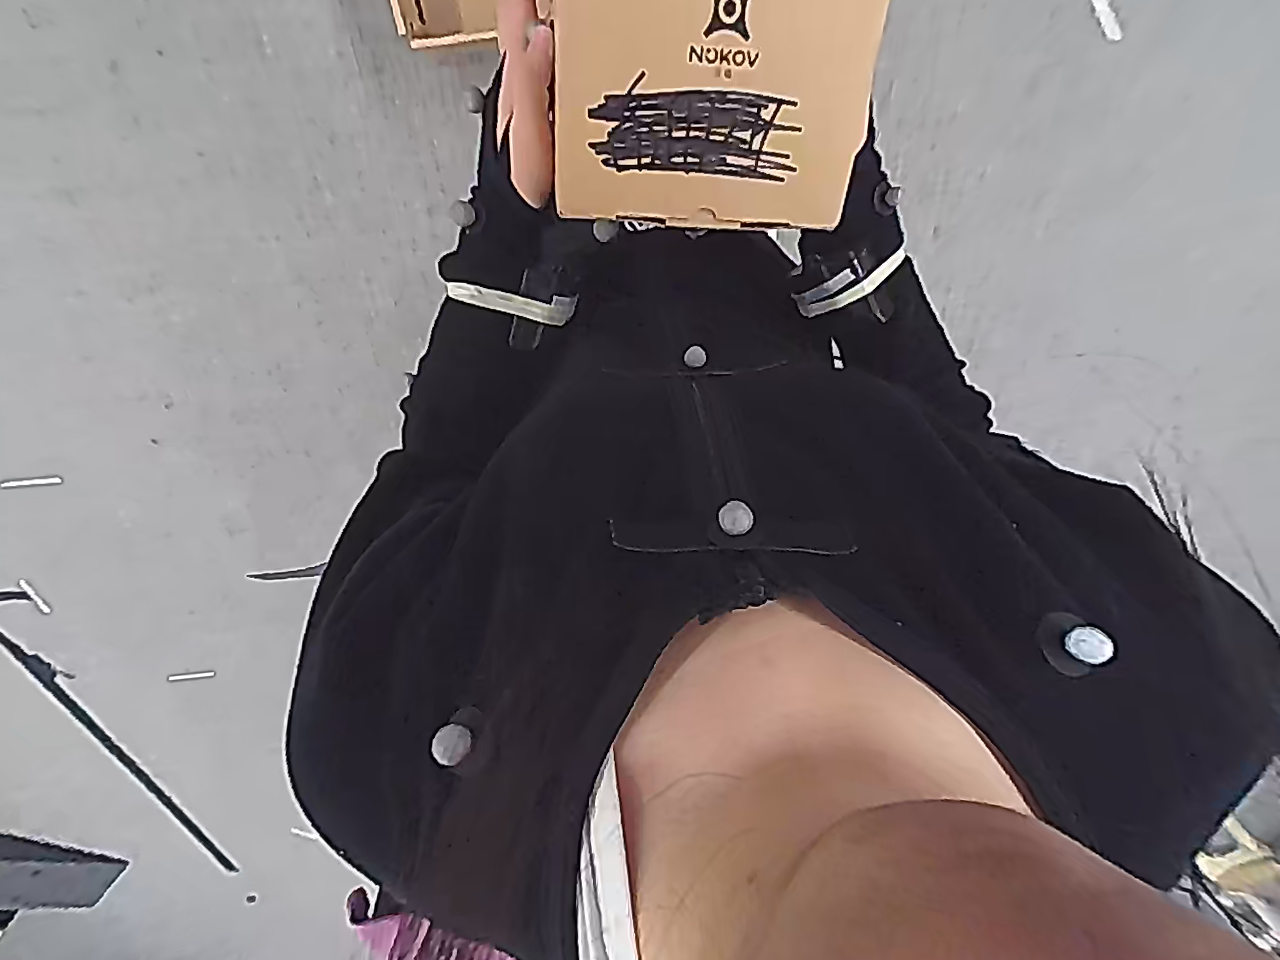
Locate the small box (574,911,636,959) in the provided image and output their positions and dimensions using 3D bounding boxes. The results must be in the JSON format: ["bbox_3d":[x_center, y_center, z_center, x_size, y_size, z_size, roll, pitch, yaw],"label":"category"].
[{"bbox_3d":[-0.094,1.325,1.487,0.168,0.176,0.179,-4,122,-6],"label":"small box"}]
